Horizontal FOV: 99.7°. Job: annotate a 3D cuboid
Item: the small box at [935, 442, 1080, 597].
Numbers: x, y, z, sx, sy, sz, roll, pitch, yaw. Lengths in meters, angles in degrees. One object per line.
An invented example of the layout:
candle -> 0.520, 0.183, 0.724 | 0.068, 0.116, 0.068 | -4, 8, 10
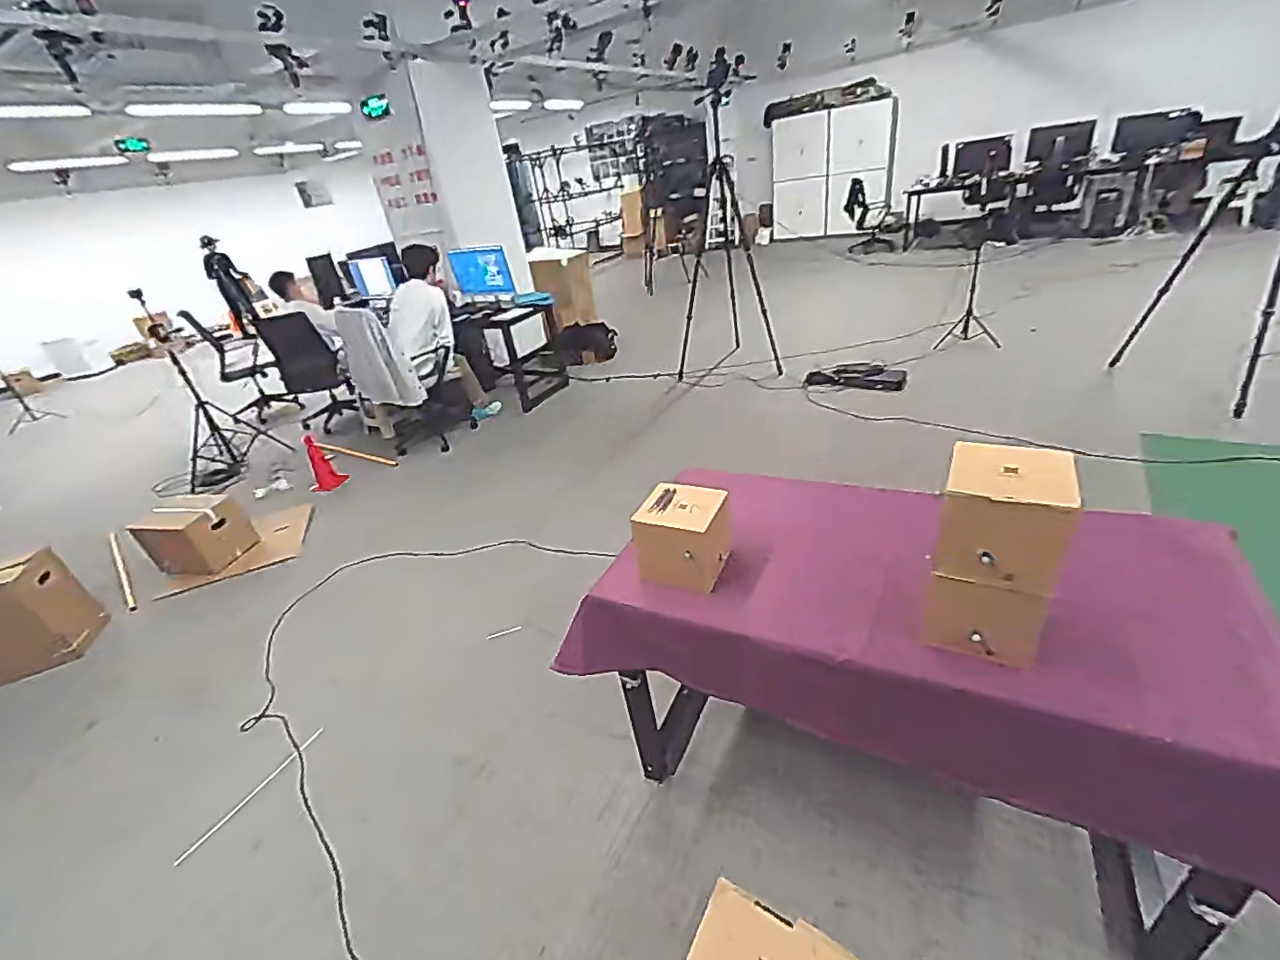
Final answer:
small box -> 0.590, 0.059, 0.884 | 0.168, 0.176, 0.179 | 9, 36, 30

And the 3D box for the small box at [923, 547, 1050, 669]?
small box -> 0.611, 0.198, 0.966 | 0.168, 0.176, 0.179 | 9, 35, 30
